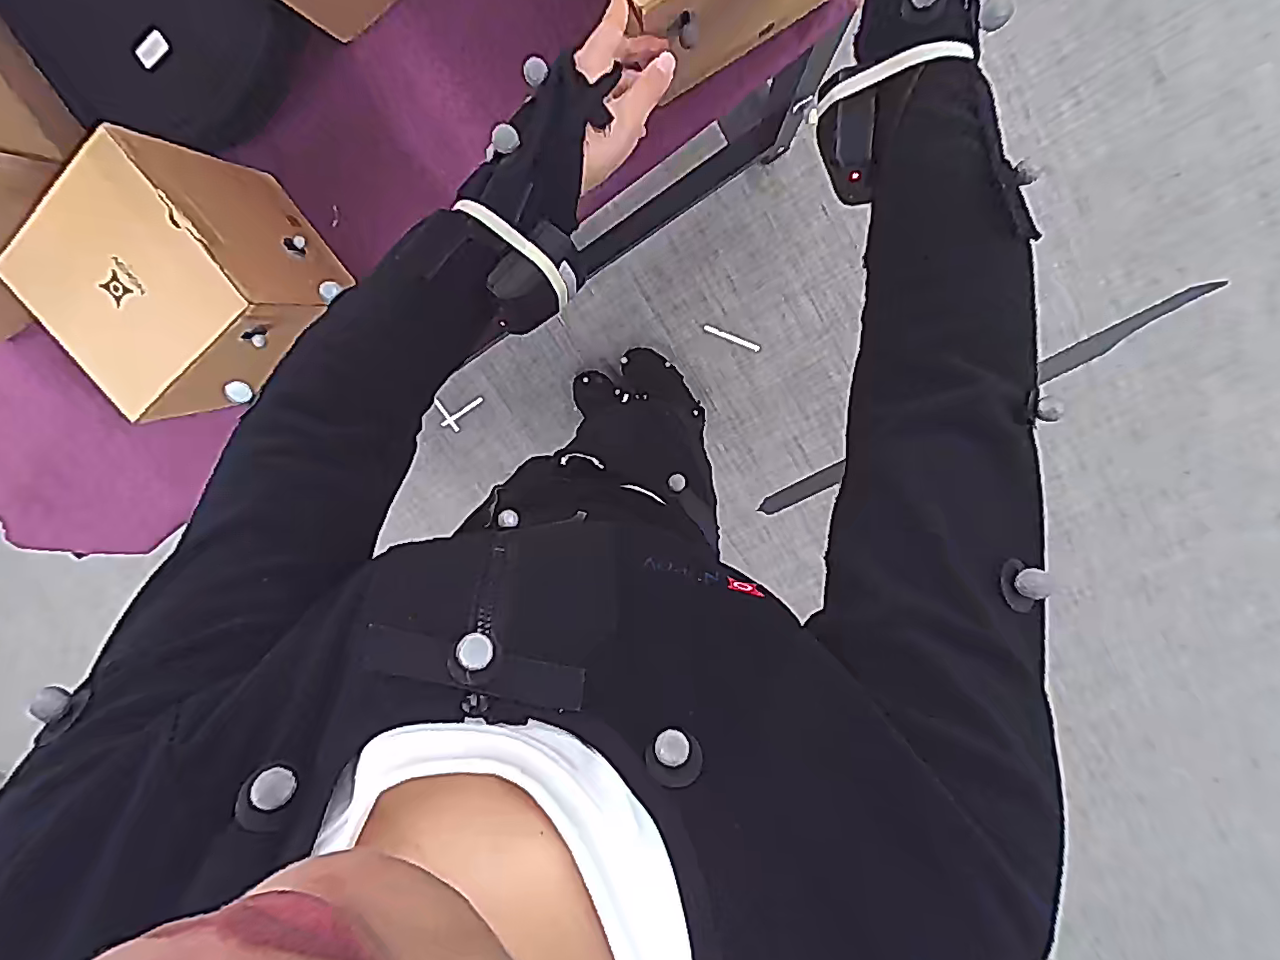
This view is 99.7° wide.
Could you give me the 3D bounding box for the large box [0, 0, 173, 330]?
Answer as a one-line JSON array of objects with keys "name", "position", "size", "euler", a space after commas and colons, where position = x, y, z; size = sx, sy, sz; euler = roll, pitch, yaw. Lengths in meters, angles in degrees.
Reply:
[{"name": "large box", "position": [-0.746, -0.365, 0.438], "size": [0.320, 0.320, 0.408], "euler": [-30, 105, 15]}]
